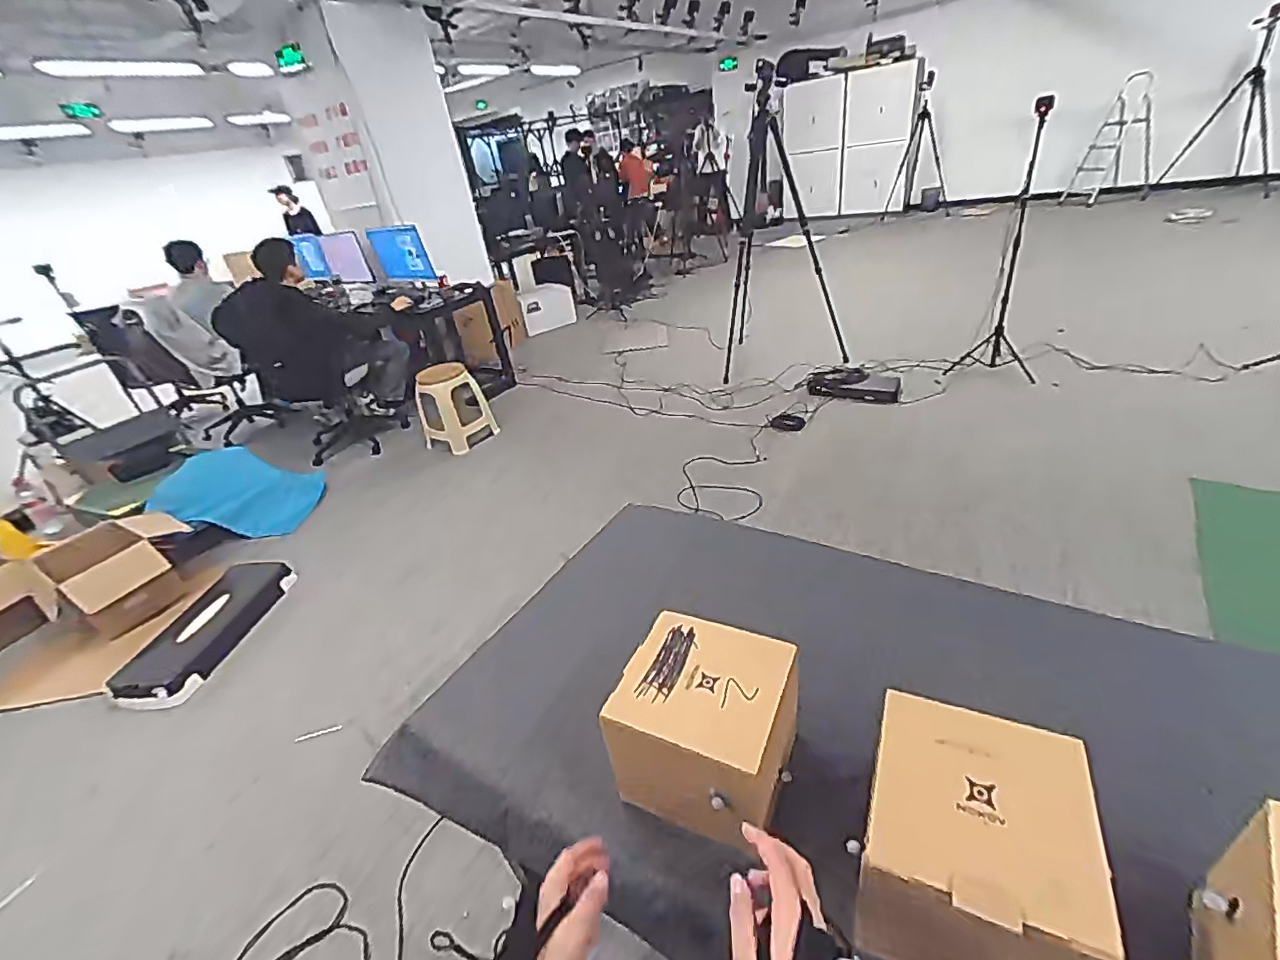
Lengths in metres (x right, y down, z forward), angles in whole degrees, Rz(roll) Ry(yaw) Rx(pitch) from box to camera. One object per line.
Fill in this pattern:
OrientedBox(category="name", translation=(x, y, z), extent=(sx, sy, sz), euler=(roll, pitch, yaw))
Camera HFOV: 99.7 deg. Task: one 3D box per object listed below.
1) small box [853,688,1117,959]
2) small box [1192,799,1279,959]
OrientedBox(category="small box", translation=(0.299, 0.337, 0.503), extent=(0.168, 0.176, 0.179), euler=(8, 34, 25))
OrientedBox(category="small box", translation=(0.520, 0.380, 0.372), extent=(0.179, 0.176, 0.168), euler=(18, 41, 38))
